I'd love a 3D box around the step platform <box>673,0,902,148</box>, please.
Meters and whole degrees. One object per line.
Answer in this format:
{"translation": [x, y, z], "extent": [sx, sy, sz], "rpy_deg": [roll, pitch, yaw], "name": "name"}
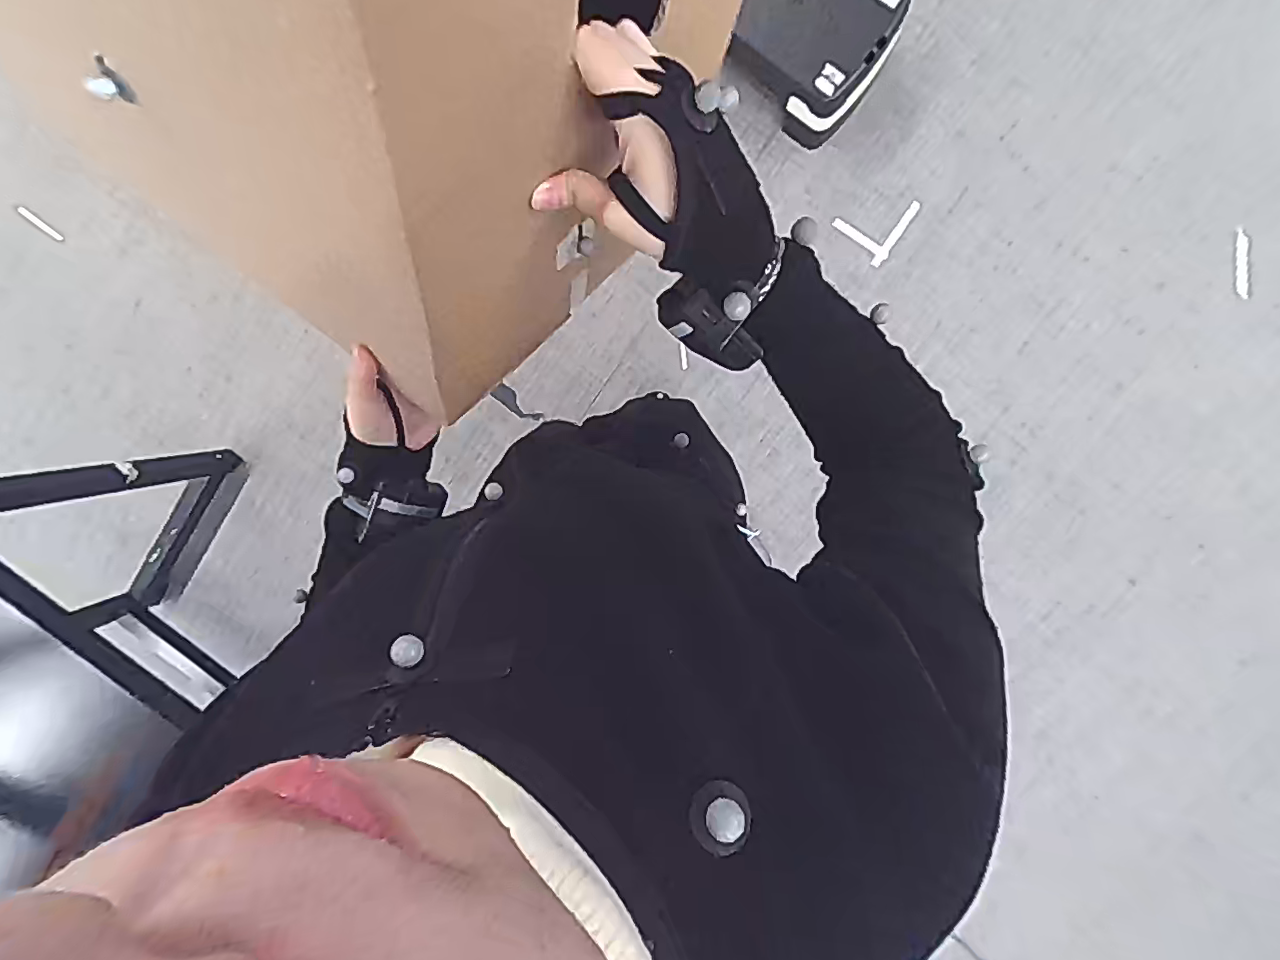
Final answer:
{"translation": [0.227, -1.099, 1.190], "extent": [0.684, 0.204, 0.286], "rpy_deg": [43, 100, 0], "name": "step platform"}
